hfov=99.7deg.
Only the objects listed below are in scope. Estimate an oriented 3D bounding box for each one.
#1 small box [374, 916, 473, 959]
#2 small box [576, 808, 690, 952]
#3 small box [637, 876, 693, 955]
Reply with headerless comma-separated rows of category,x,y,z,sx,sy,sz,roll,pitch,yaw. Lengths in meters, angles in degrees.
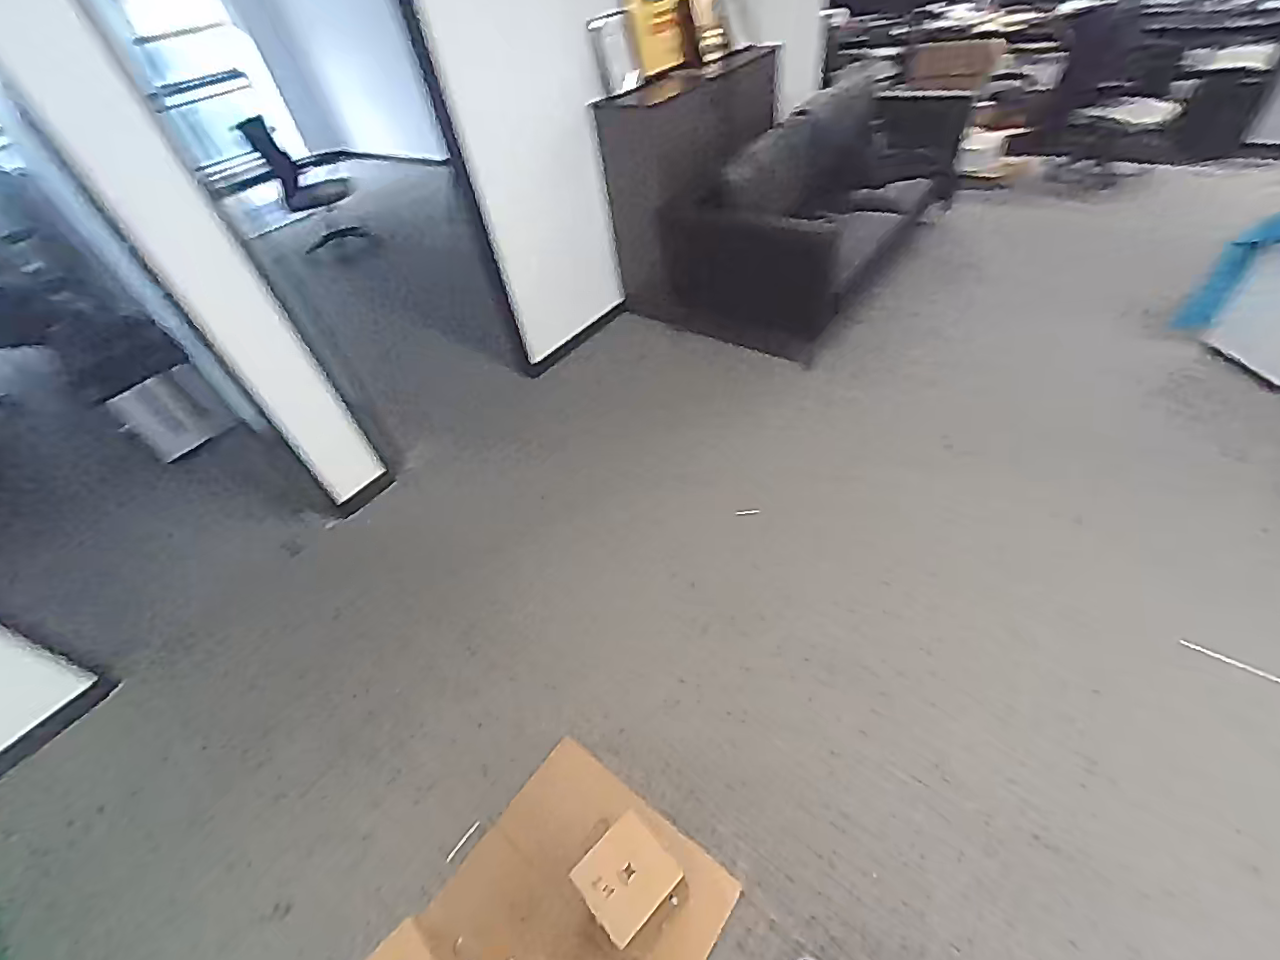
small box,-0.385,0.907,0.928,0.168,0.176,0.179,32,59,34
small box,-0.007,0.847,1.146,0.179,0.176,0.168,-38,50,-23
small box,0.010,0.958,1.267,0.168,0.176,0.179,30,59,34
